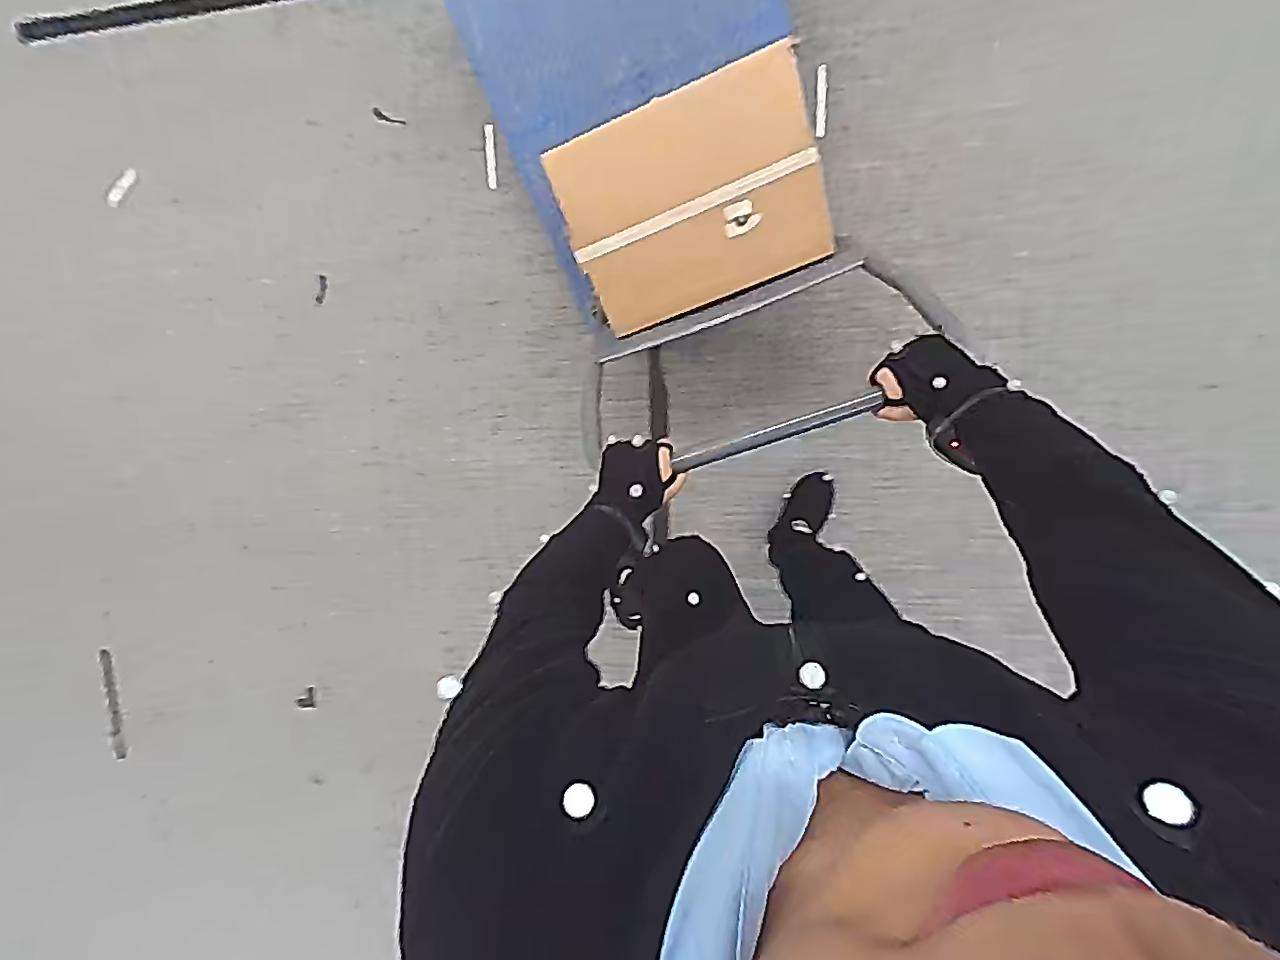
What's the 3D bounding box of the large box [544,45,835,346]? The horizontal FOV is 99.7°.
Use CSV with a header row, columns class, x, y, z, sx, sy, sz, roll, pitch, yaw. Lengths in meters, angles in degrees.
class,x,y,z,sx,sy,sz,roll,pitch,yaw
large box,0.086,-0.499,1.000,0.408,0.320,0.320,-20,118,10
